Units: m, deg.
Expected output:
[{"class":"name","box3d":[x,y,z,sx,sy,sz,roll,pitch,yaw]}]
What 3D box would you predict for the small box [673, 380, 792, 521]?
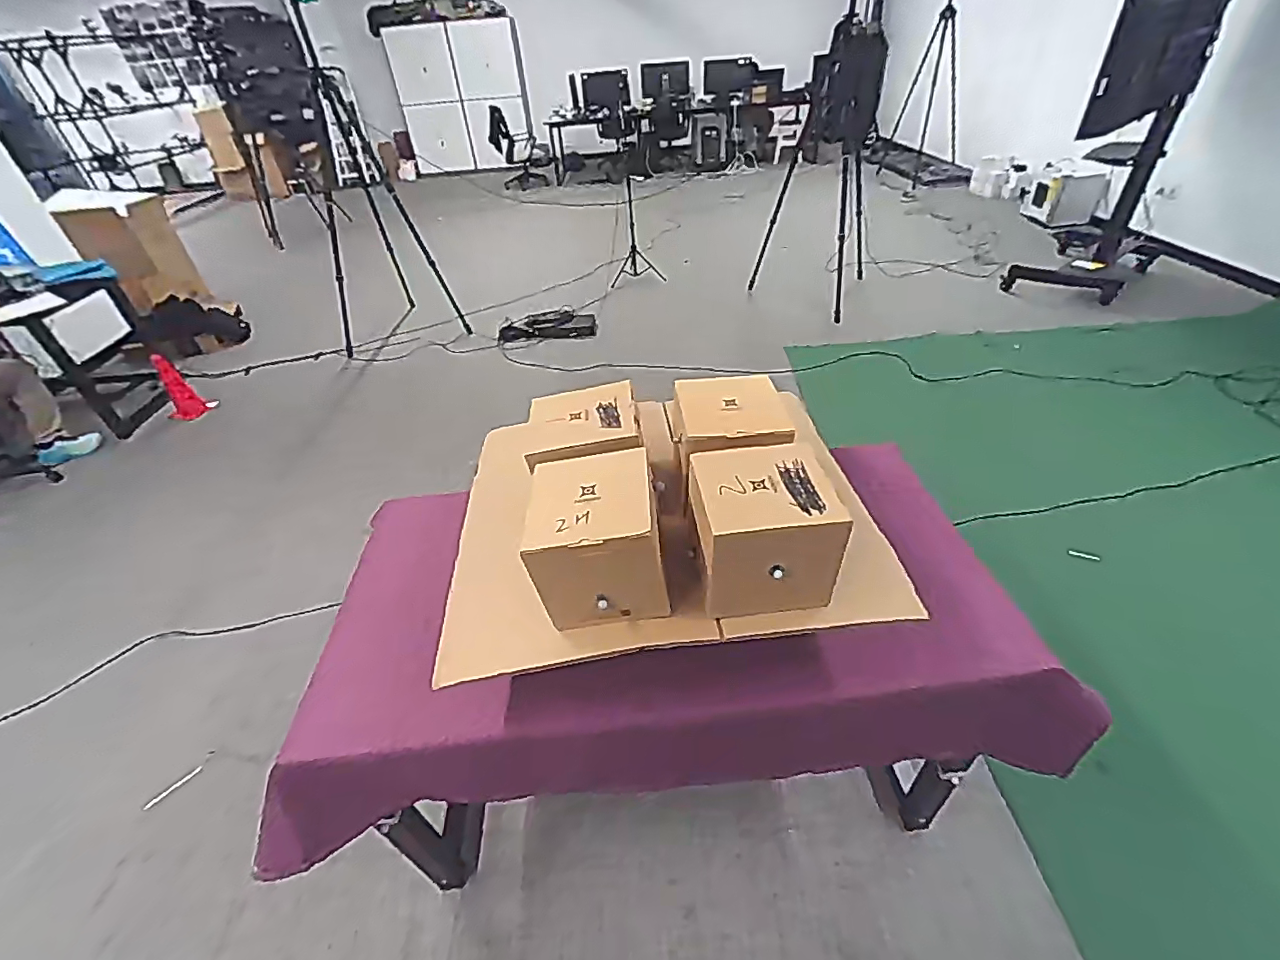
[{"class":"small box","box3d":[0.146,-0.052,0.923,0.168,0.176,0.179,-4,40,-1]}]
